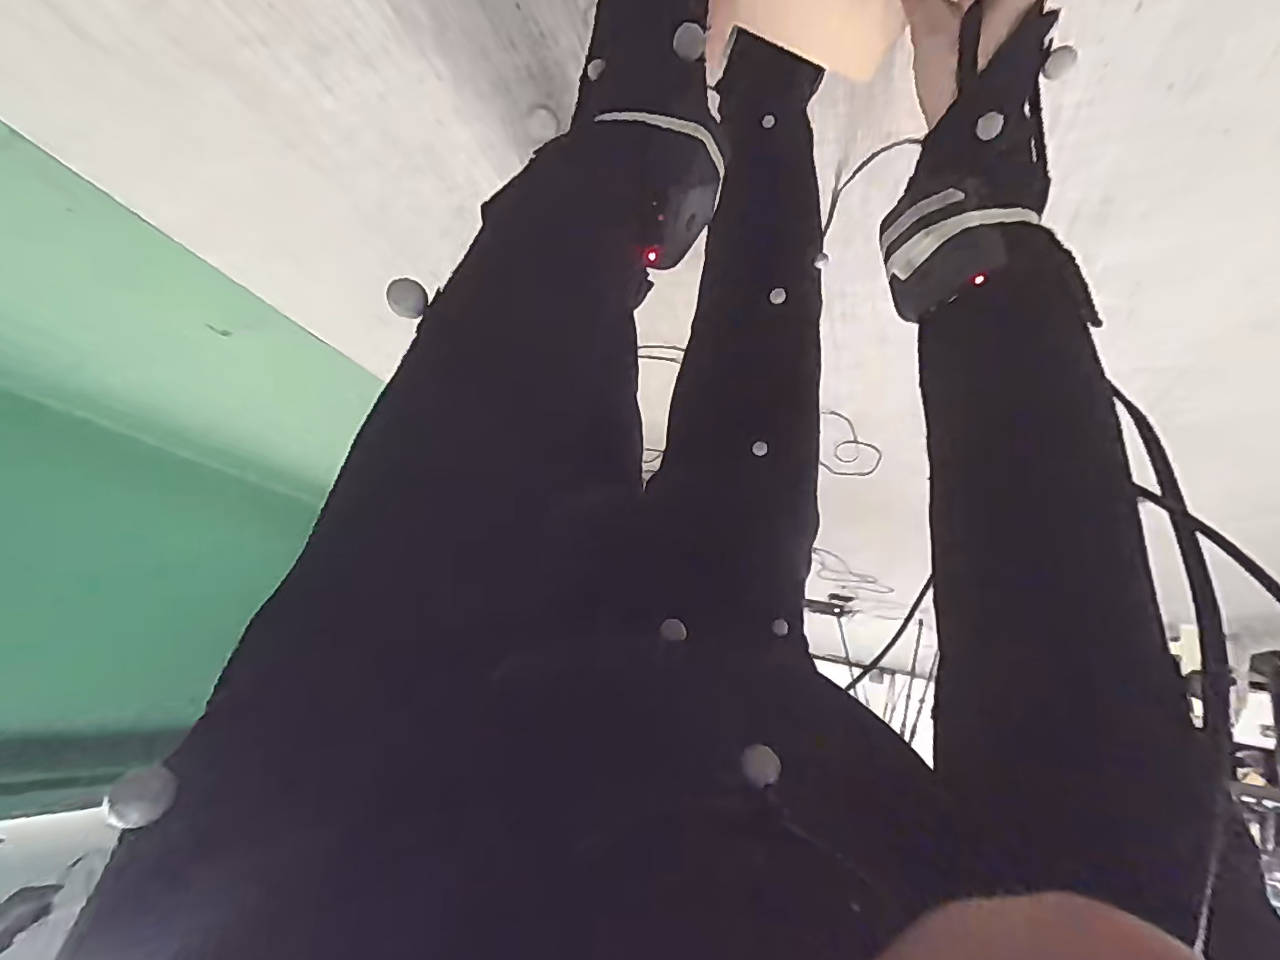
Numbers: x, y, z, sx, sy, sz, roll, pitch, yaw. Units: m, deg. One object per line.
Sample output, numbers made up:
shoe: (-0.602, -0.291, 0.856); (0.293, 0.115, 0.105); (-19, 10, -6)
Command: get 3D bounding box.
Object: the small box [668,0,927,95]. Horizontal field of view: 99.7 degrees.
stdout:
small box: (0.120, -0.401, 0.335); (0.168, 0.176, 0.179); (15, 148, -13)
